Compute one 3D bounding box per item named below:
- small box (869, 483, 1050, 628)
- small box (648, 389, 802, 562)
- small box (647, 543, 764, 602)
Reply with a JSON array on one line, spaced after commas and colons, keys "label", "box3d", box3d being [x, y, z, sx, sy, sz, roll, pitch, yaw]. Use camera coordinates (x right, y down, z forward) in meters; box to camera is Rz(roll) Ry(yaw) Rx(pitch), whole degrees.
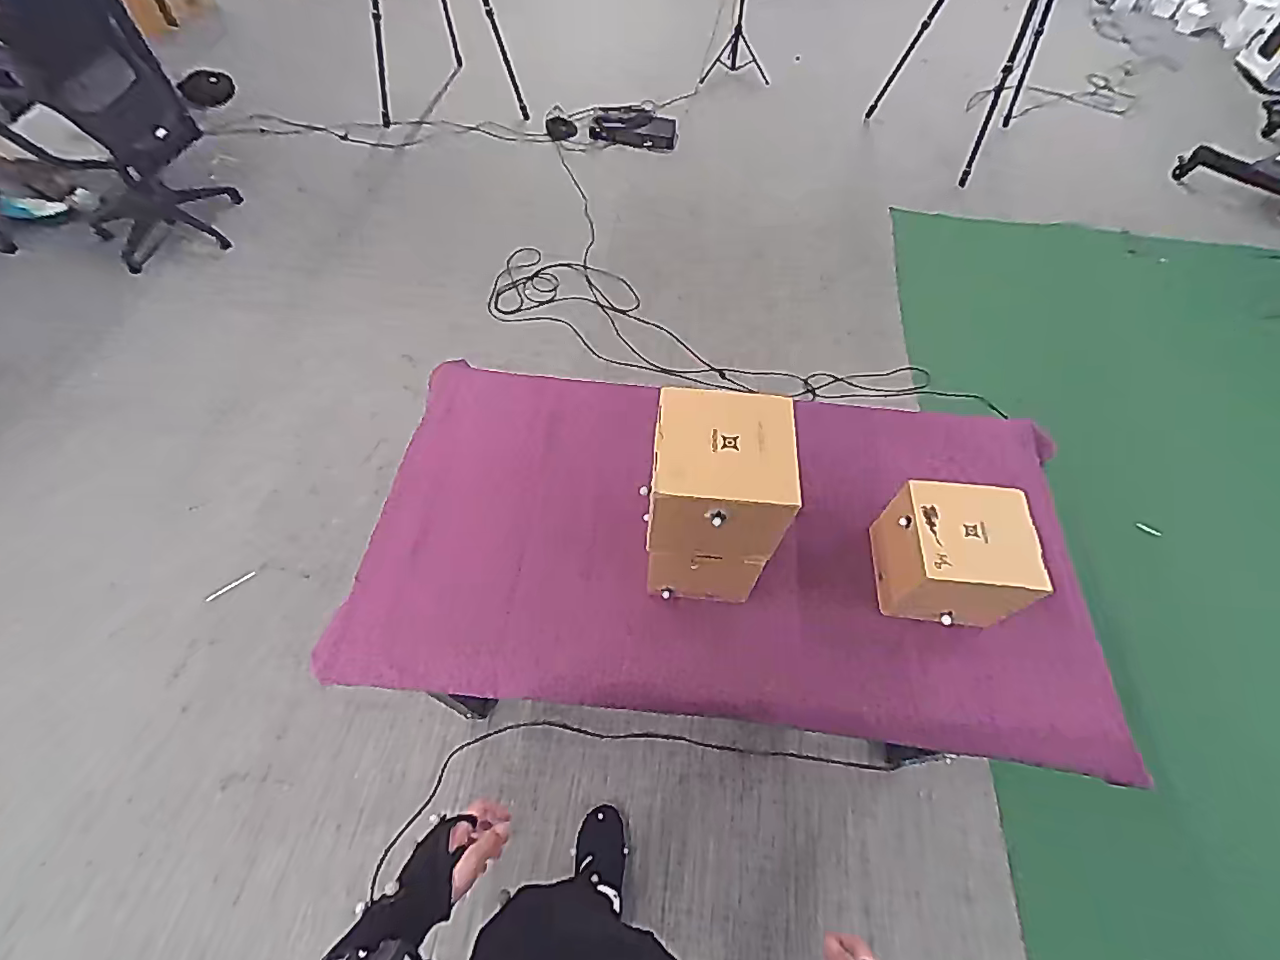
[{"label": "small box", "box3d": [0.489, 0.126, 0.857, 0.179, 0.176, 0.168, 6, 57, 2]}, {"label": "small box", "box3d": [0.105, 0.000, 0.730, 0.179, 0.176, 0.168, 6, 59, 1]}, {"label": "small box", "box3d": [0.100, 0.084, 0.869, 0.168, 0.176, 0.179, 5, 57, 1]}]
